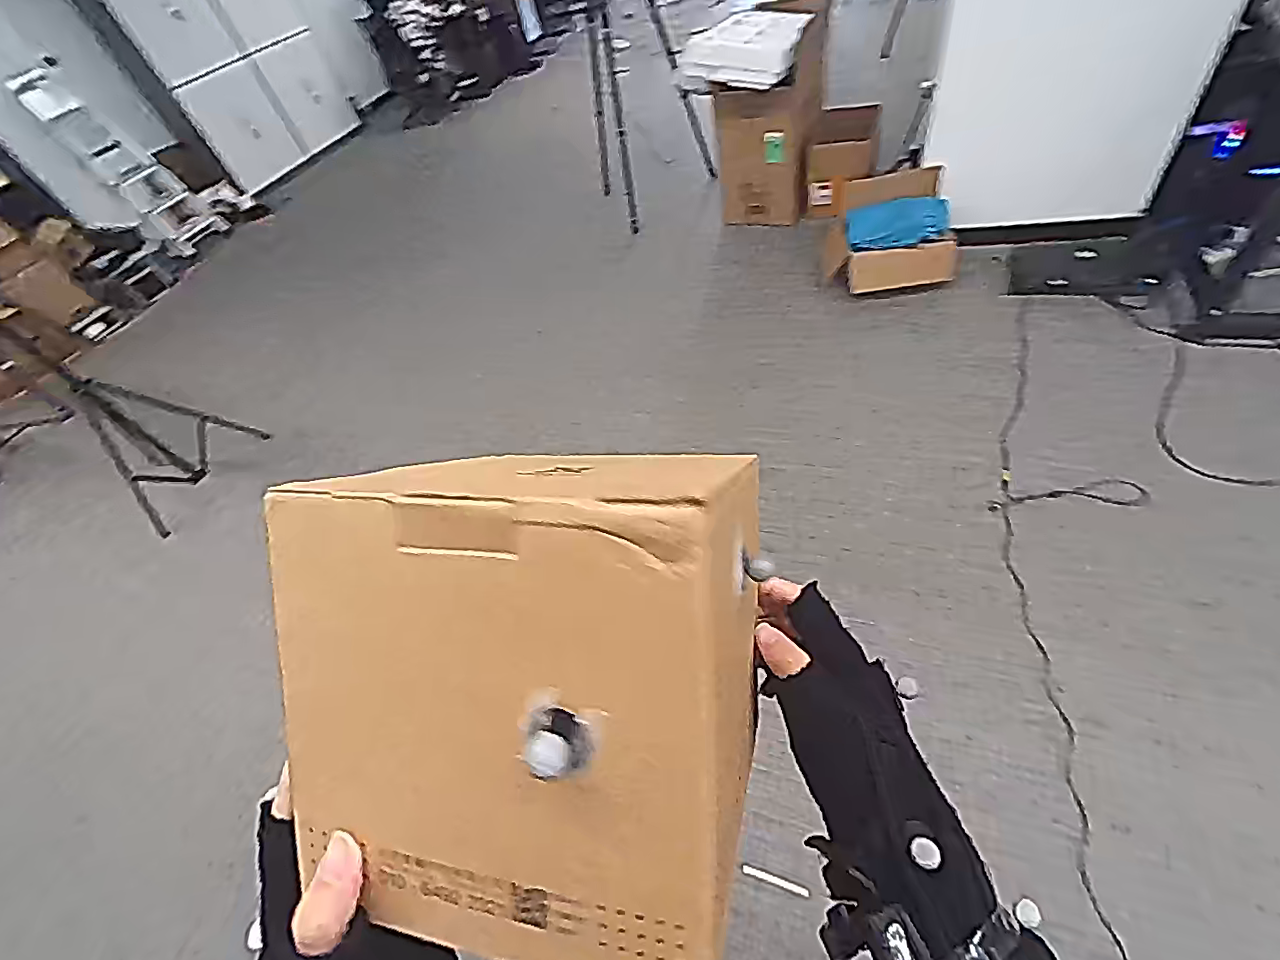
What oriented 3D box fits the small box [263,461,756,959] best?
[{"bbox_3d":[-0.036,0.084,0.266,0.168,0.176,0.179,0,6,20],"label":"small box"}]
